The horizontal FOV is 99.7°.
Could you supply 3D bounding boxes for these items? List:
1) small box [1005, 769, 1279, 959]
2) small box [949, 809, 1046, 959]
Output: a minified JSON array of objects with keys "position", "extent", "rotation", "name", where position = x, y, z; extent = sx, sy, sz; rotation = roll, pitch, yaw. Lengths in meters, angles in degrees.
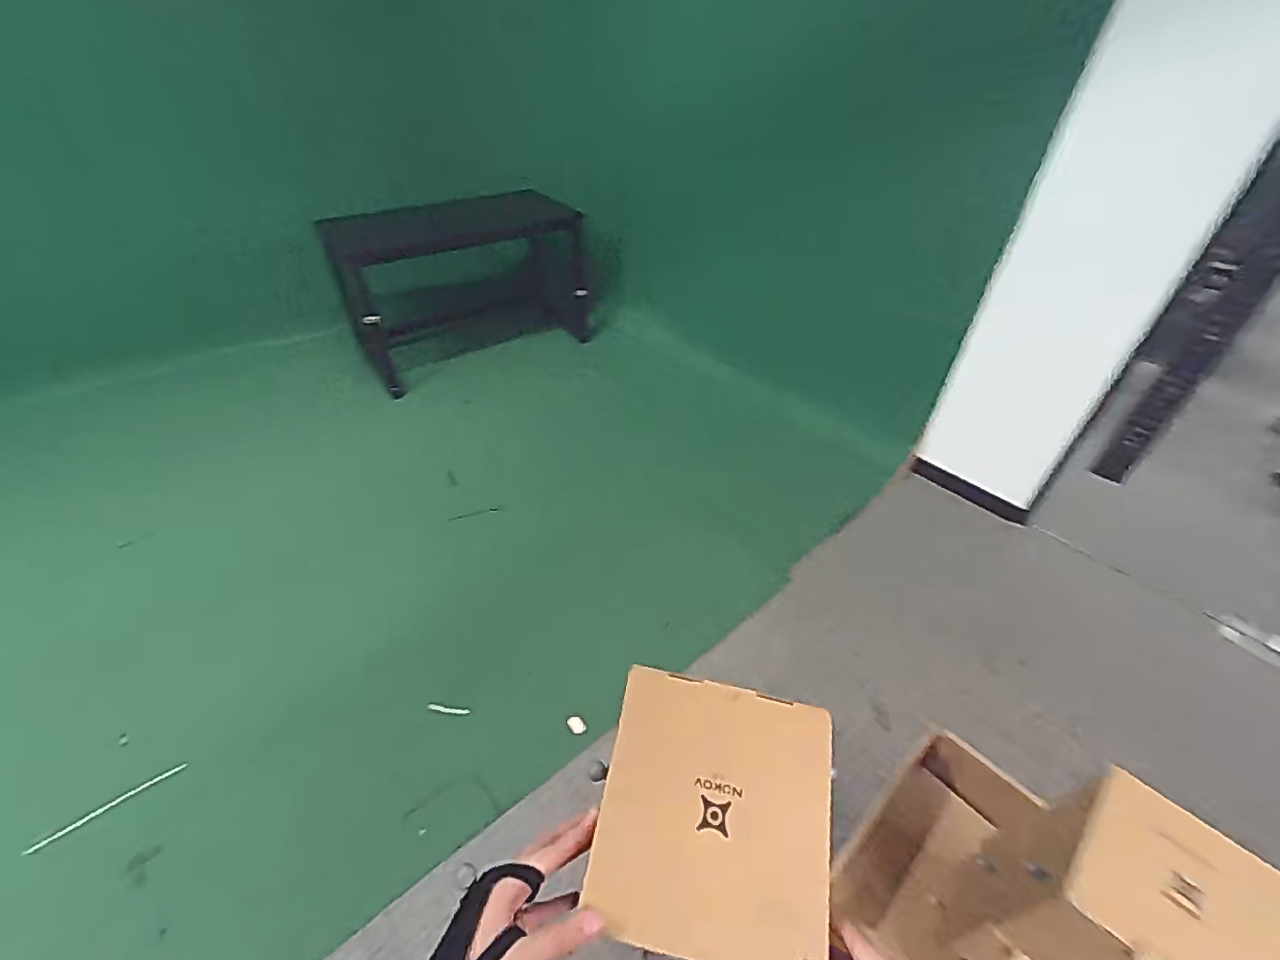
[{"position":[0.531,0.463,0.578],"extent":[0.179,0.176,0.168],"rotation":[-33,52,-29],"name":"small box"},{"position":[0.529,0.578,0.693],"extent":[0.168,0.176,0.179],"rotation":[33,52,31],"name":"small box"}]
